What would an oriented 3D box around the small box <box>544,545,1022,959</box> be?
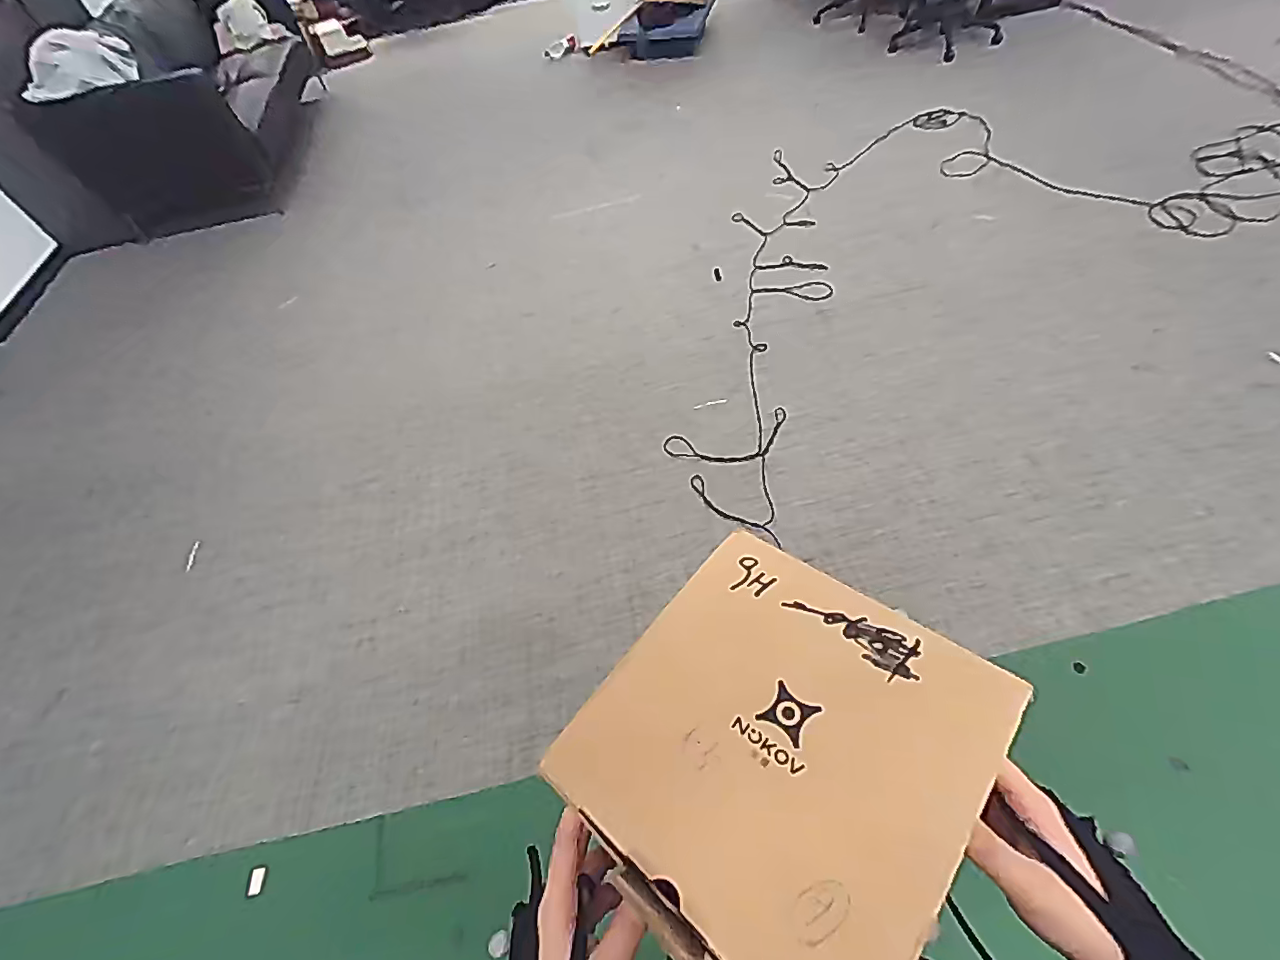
[{"bbox_3d":[0.080,0.179,0.319,0.168,0.176,0.179,29,61,33],"label":"small box"}]
